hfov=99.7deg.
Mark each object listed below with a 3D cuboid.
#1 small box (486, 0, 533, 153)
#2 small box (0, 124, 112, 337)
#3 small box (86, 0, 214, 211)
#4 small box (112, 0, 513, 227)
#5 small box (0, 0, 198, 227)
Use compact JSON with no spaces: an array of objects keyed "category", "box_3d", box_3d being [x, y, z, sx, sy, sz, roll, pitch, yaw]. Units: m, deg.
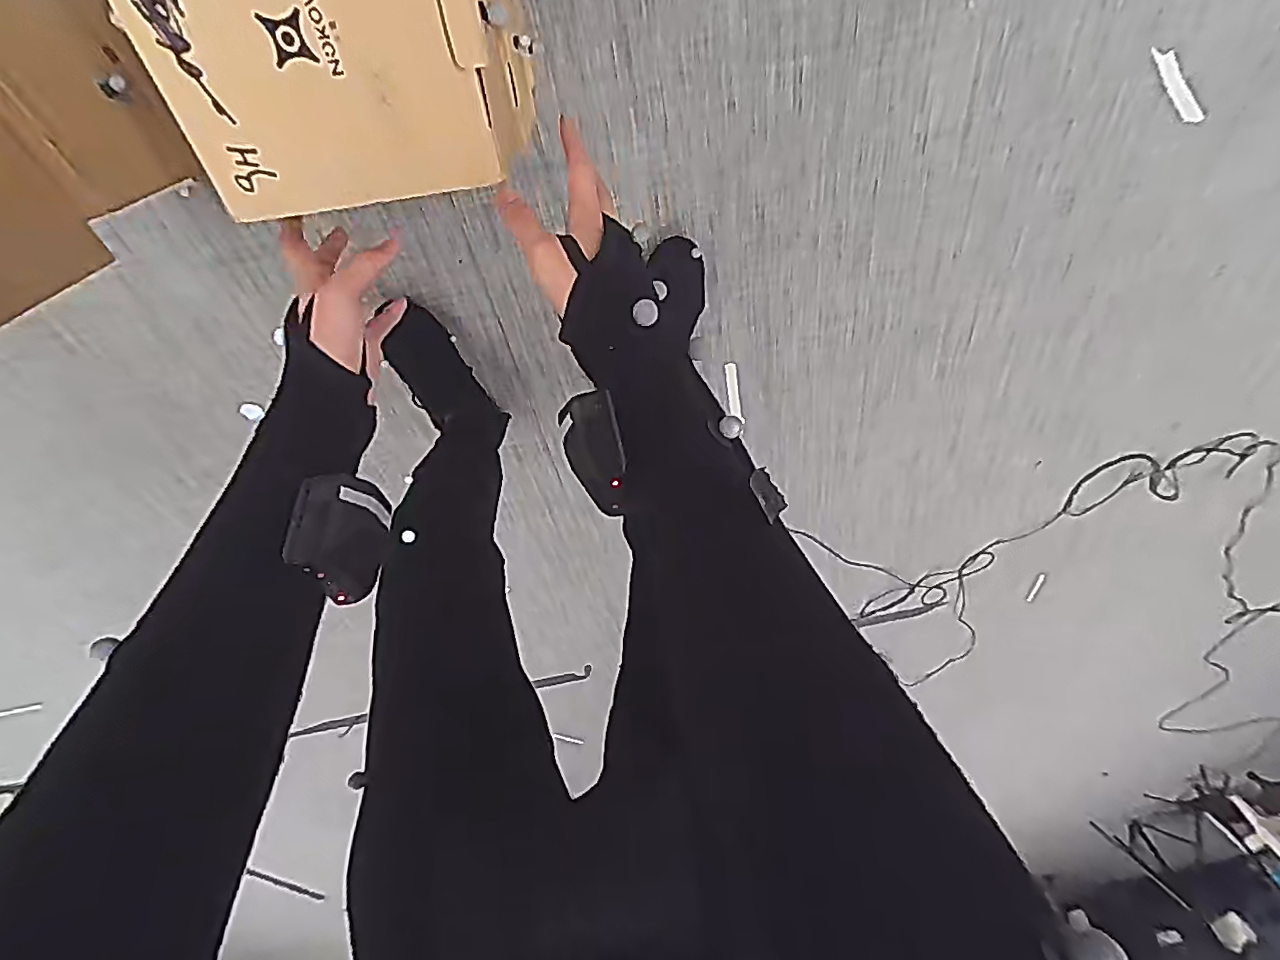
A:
[{"category":"small box","box_3d":[-0.199,-0.389,0.476,0.179,0.176,0.168,-8,132,-2]},{"category":"small box","box_3d":[-0.558,-0.188,0.379,0.168,0.176,0.179,-12,133,4]},{"category":"small box","box_3d":[-0.595,-0.419,0.610,0.168,0.176,0.179,-14,132,5]},{"category":"small box","box_3d":[-0.186,-0.285,0.349,0.179,0.176,0.168,-9,131,-2]},{"category":"small box","box_3d":[-0.565,-0.317,0.484,0.179,0.176,0.168,-15,132,6]}]
